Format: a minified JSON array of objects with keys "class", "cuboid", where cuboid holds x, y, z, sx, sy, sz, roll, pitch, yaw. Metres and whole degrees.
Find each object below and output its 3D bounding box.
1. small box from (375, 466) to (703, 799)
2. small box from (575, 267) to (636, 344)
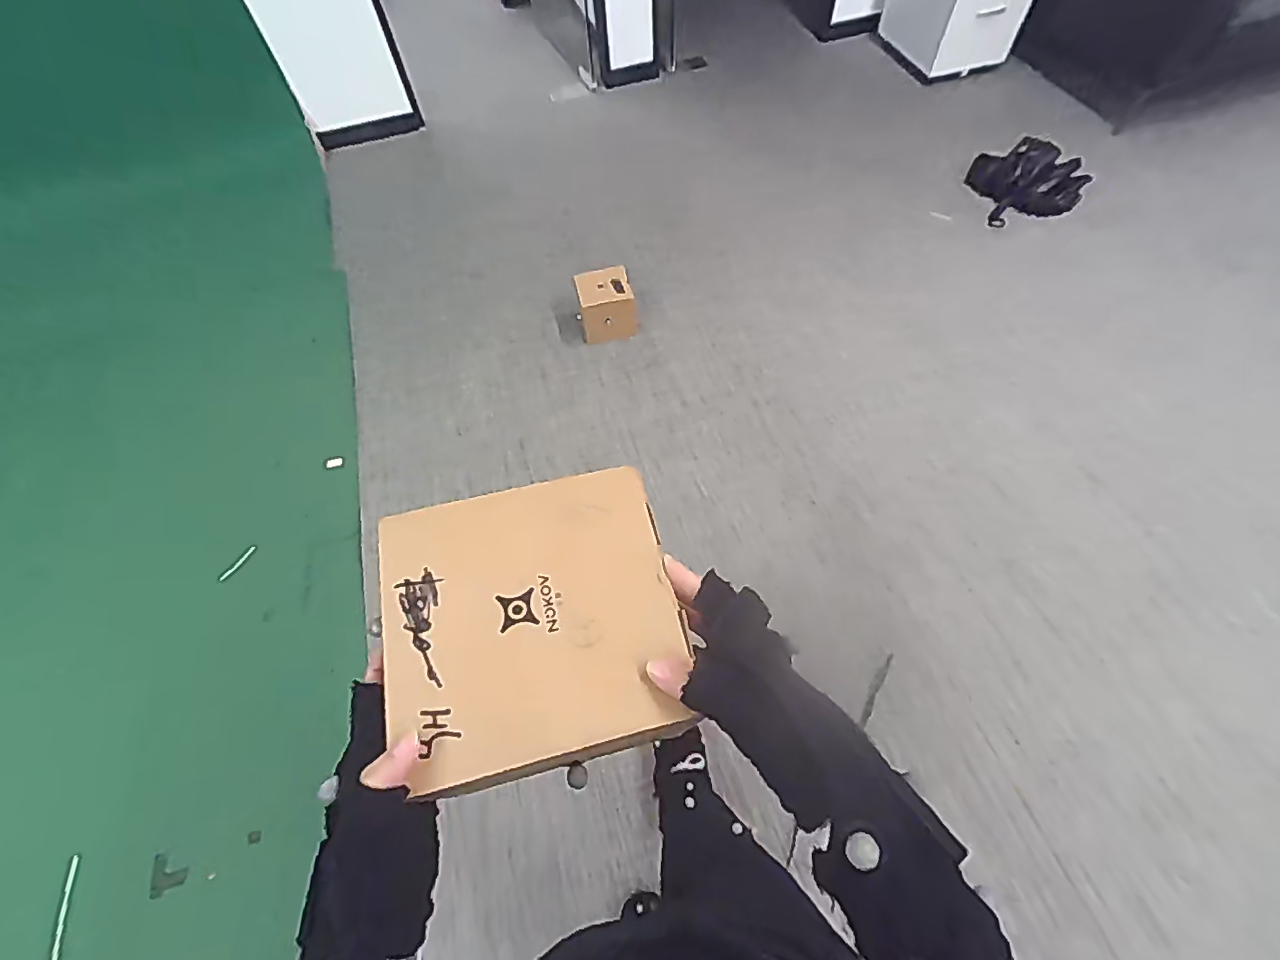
[{"class":"small box","cuboid":[-0.071,0.115,0.403,0.179,0.176,0.168,-15,64,-9]},{"class":"small box","cuboid":[-0.114,-0.594,1.850,0.179,0.176,0.168,-13,60,-2]}]
